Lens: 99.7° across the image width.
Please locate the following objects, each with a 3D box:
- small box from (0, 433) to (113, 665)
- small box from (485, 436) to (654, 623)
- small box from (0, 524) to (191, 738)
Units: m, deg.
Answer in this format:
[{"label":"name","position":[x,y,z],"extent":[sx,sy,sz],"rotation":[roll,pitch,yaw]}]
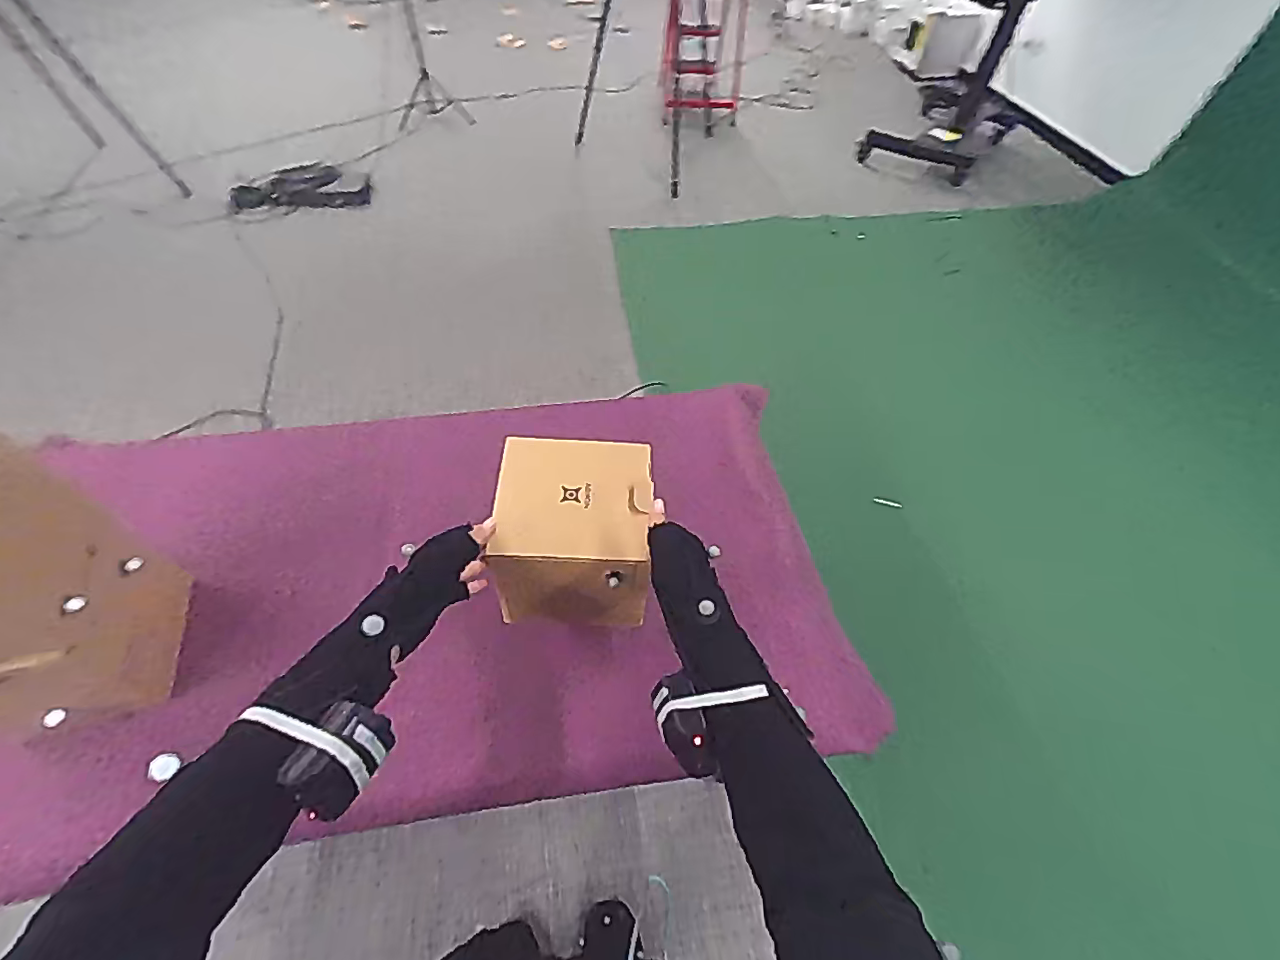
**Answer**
[{"label":"small box","position":[-0.676,0.078,0.516],"extent":[0.179,0.176,0.168],"rotation":[-10,53,-10]},{"label":"small box","position":[-0.077,0.065,0.663],"extent":[0.179,0.176,0.168],"rotation":[3,51,-4]},{"label":"small box","position":[-0.687,0.182,0.647],"extent":[0.168,0.176,0.179],"rotation":[-13,55,-11]}]
